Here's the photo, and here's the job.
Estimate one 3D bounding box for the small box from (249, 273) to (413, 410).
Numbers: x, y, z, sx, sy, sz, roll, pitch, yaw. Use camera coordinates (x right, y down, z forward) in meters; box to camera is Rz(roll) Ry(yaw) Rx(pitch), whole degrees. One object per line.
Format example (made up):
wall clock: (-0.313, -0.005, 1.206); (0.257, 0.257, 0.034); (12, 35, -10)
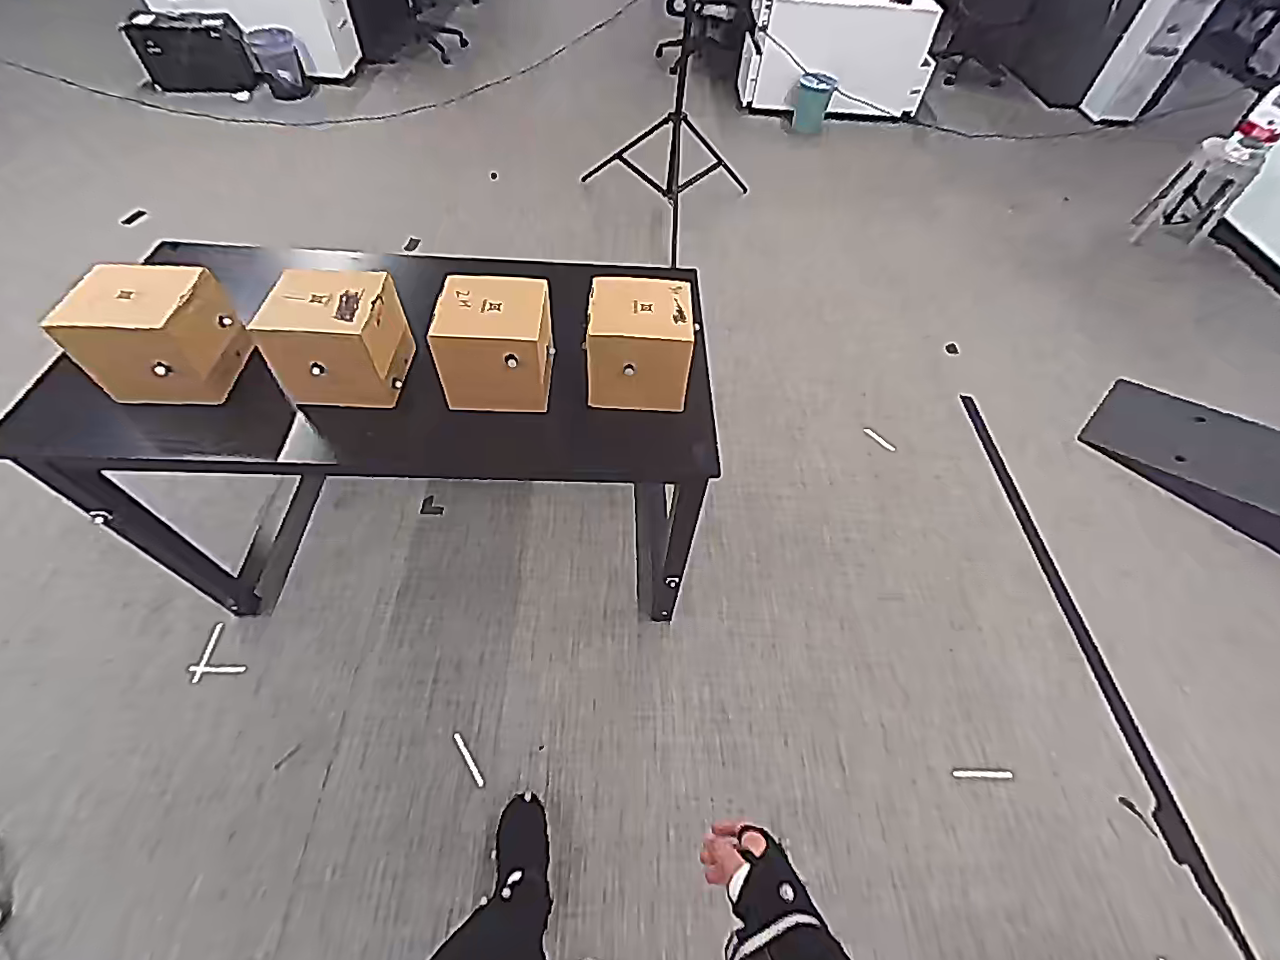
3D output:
small box: (-0.523, -0.238, 0.949); (0.179, 0.176, 0.168); (1, 54, -2)

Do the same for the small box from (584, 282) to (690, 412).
small box: (-0.005, -0.238, 0.984); (0.179, 0.176, 0.168); (1, 54, -1)

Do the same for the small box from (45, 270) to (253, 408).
small box: (-0.817, -0.237, 0.929); (0.179, 0.176, 0.168); (-1, 53, -4)

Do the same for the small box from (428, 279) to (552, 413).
small box: (-0.253, -0.233, 0.963); (0.179, 0.176, 0.168); (1, 53, -3)
